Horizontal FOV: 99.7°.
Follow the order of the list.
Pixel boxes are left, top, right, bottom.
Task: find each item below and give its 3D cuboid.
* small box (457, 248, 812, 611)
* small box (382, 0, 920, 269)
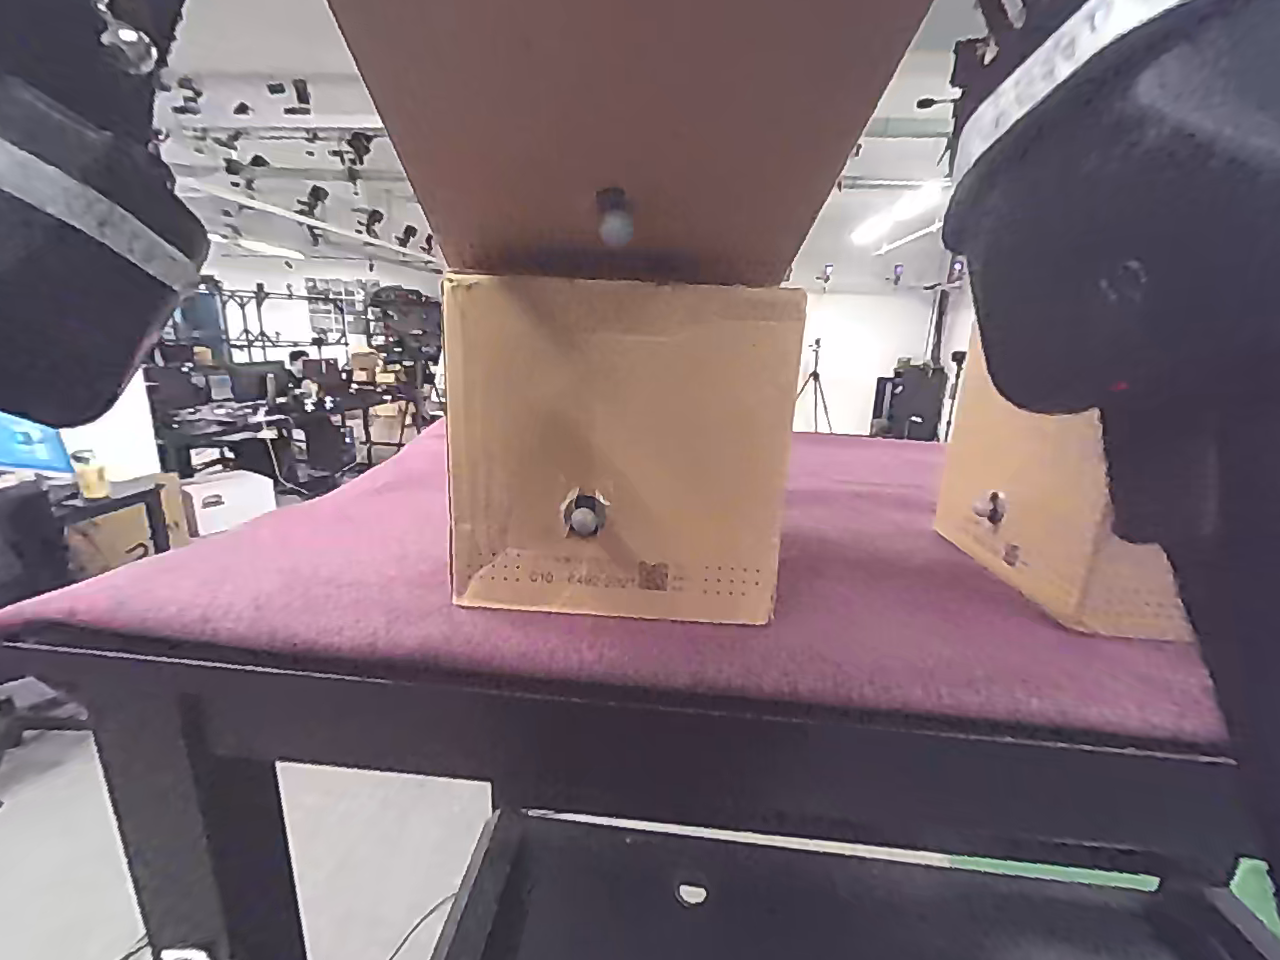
[{"bbox_3d":[-0.006,-0.036,0.341,0.168,0.176,0.179,3,14,1],"label":"small box"},{"bbox_3d":[-0.001,-0.210,0.215,0.168,0.179,0.176,2,-14,-2],"label":"small box"}]
